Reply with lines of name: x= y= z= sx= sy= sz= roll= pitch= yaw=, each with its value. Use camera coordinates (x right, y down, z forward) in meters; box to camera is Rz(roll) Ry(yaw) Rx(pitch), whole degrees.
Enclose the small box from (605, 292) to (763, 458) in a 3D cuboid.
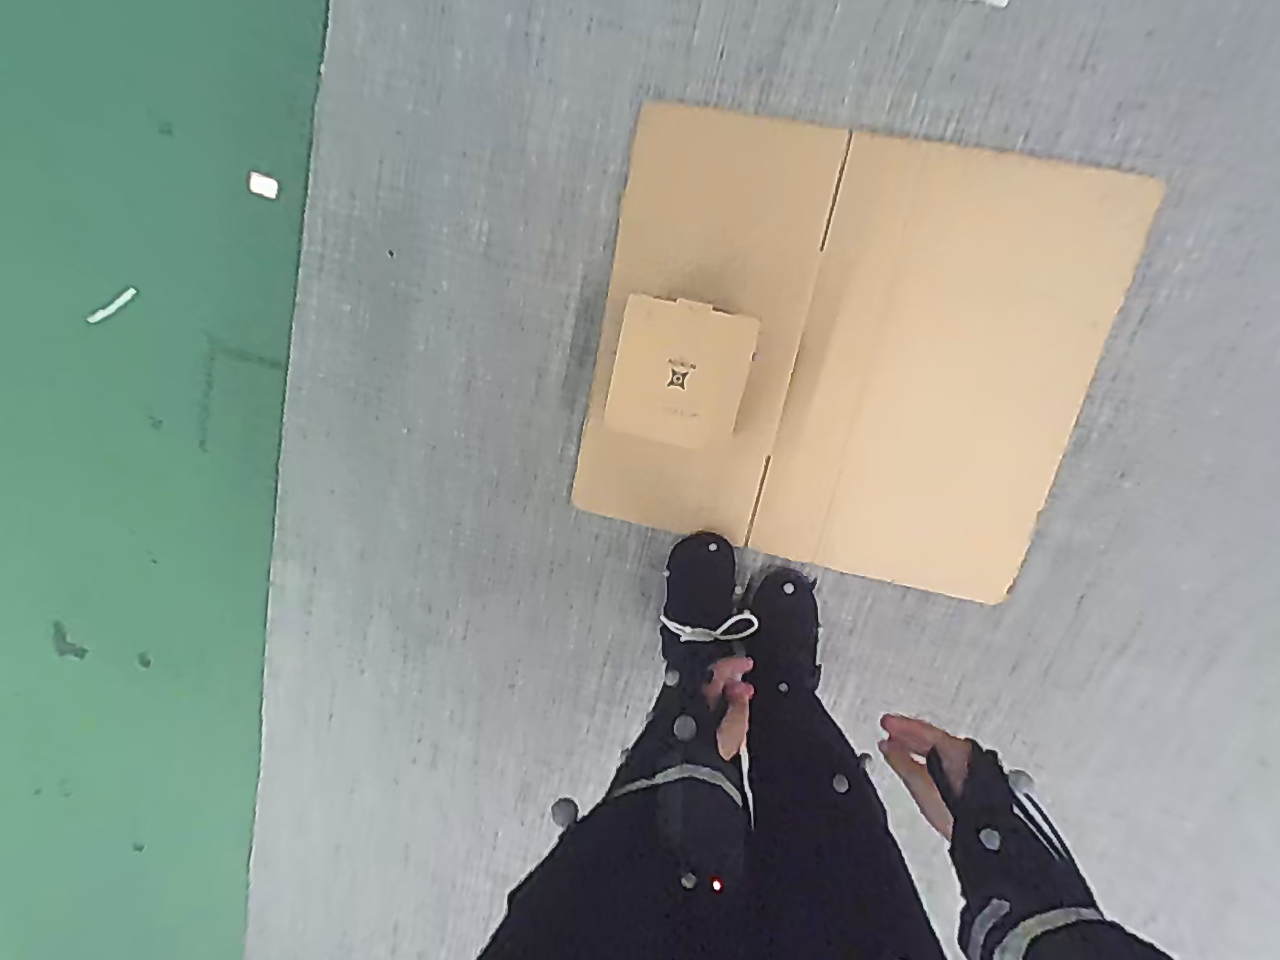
small box: x=0.062 y=-0.145 z=0.746 sx=0.168 sy=0.176 sz=0.179 roll=14 pitch=105 yaw=6
